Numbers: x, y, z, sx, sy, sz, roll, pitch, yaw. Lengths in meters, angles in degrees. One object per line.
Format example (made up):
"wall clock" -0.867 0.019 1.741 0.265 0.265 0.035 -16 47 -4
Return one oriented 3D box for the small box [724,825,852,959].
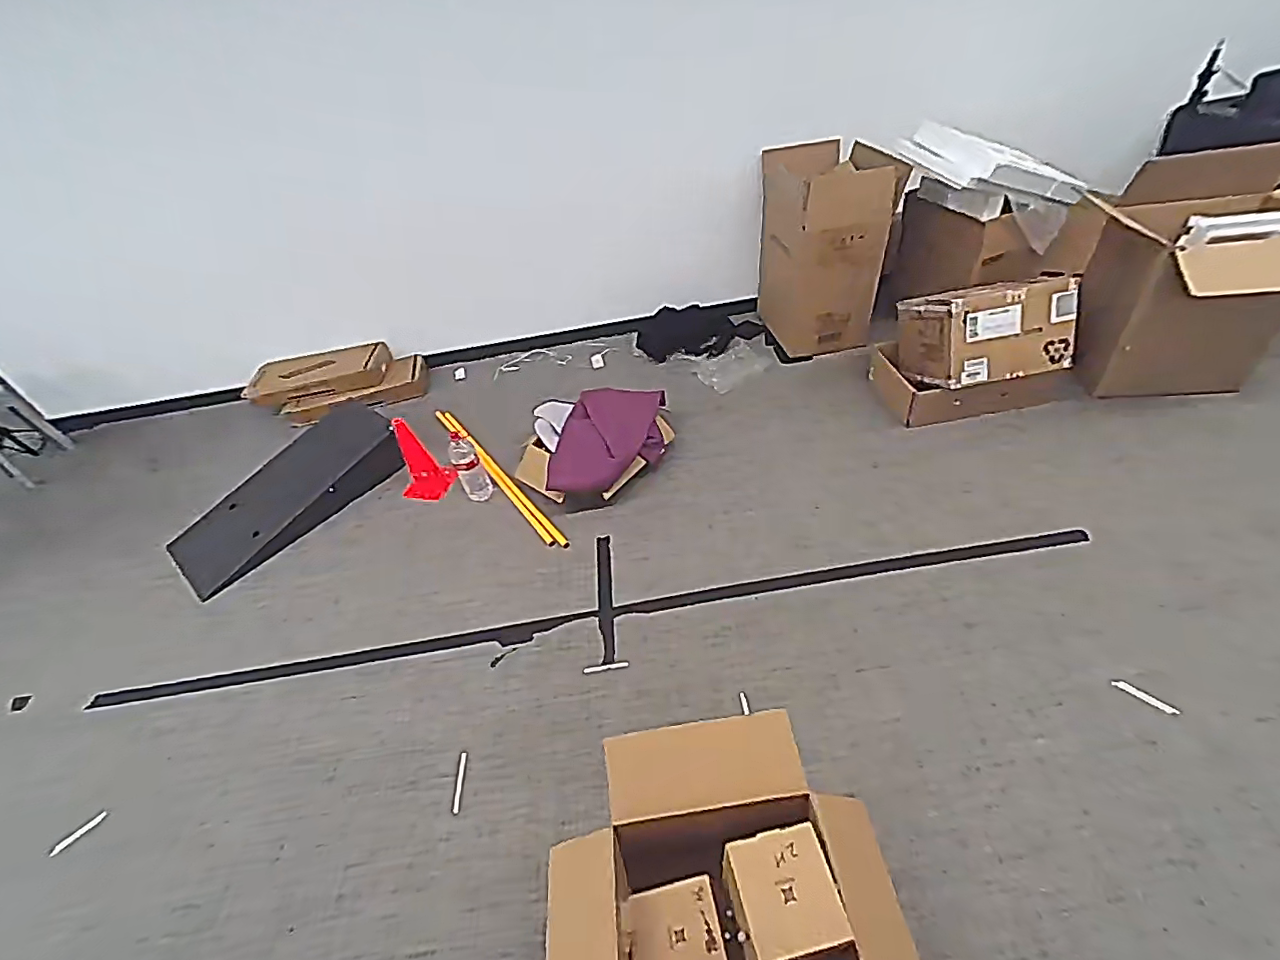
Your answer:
"small box" 0.256 0.764 0.981 0.168 0.176 0.179 -11 43 -6
